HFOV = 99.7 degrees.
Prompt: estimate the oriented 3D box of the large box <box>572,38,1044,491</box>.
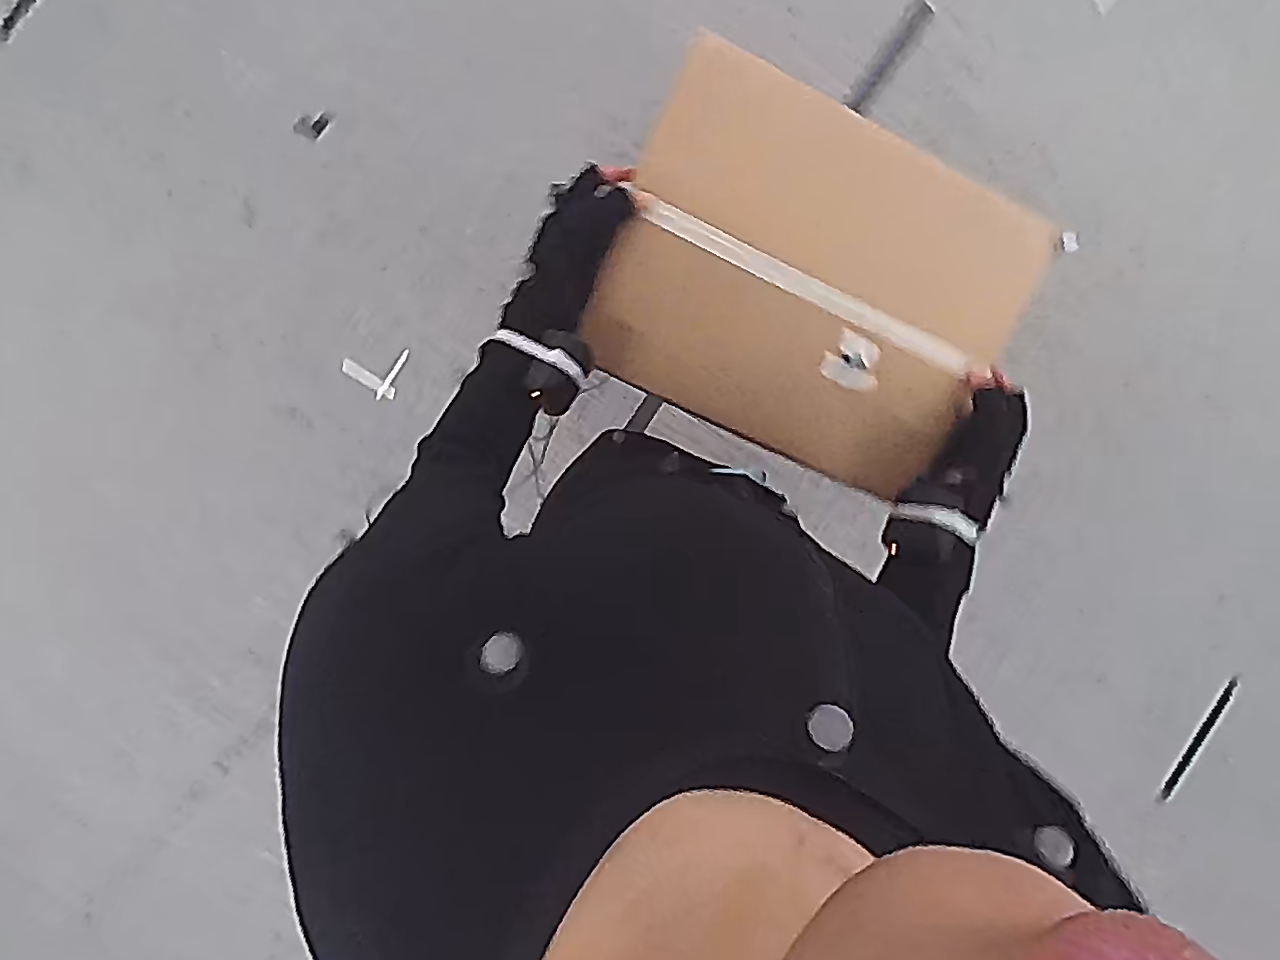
[{"bbox_3d":[0.160,-0.228,0.690,0.408,0.320,0.320,24,100,-8],"label":"large box"}]
